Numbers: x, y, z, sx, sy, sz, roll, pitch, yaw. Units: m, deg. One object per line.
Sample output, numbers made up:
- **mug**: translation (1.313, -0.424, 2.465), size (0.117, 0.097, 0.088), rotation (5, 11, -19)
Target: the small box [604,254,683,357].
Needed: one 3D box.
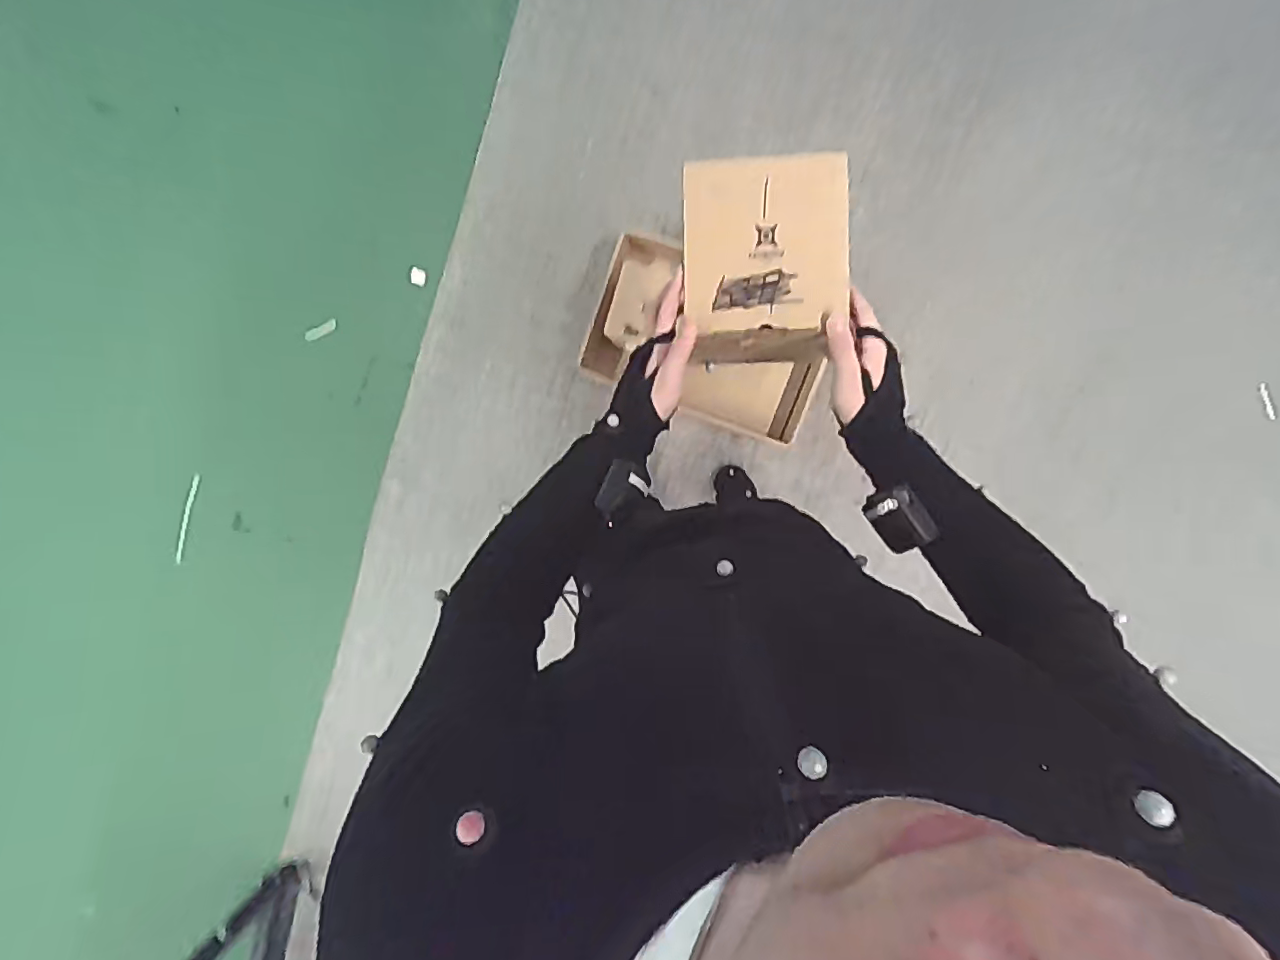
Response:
- **small box**: translation (0.029, -0.411, 1.300), size (0.168, 0.176, 0.179), rotation (19, 97, 5)

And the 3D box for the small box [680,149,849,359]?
- **small box**: translation (0.131, -0.237, 0.616), size (0.168, 0.176, 0.179), rotation (-1, 91, 5)
